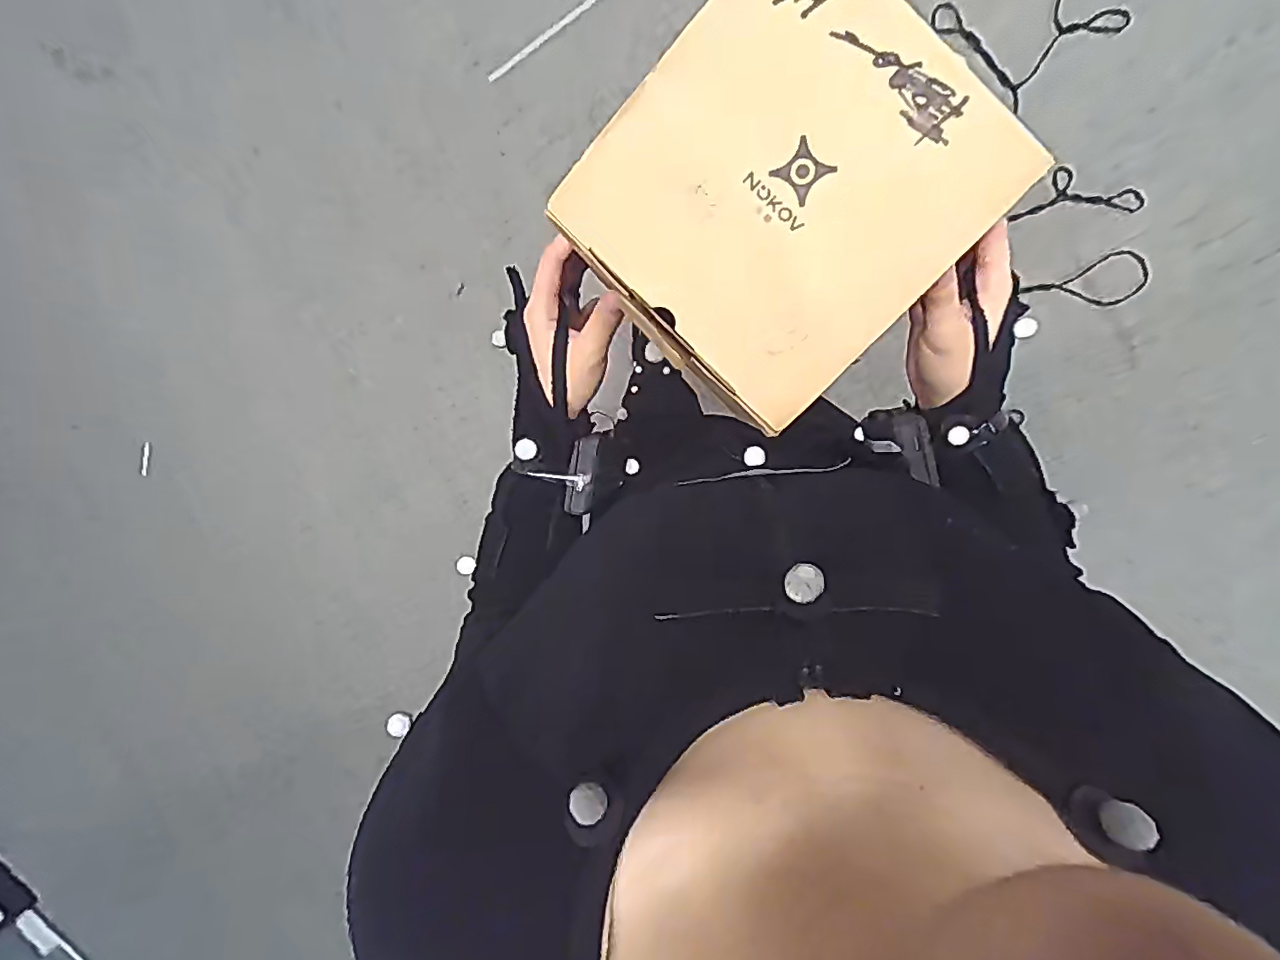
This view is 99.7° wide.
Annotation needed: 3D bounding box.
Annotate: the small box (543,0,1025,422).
[{"bbox_3d":[0.074,-0.157,0.342,0.168,0.176,0.179,44,101,-3],"label":"small box"}]
